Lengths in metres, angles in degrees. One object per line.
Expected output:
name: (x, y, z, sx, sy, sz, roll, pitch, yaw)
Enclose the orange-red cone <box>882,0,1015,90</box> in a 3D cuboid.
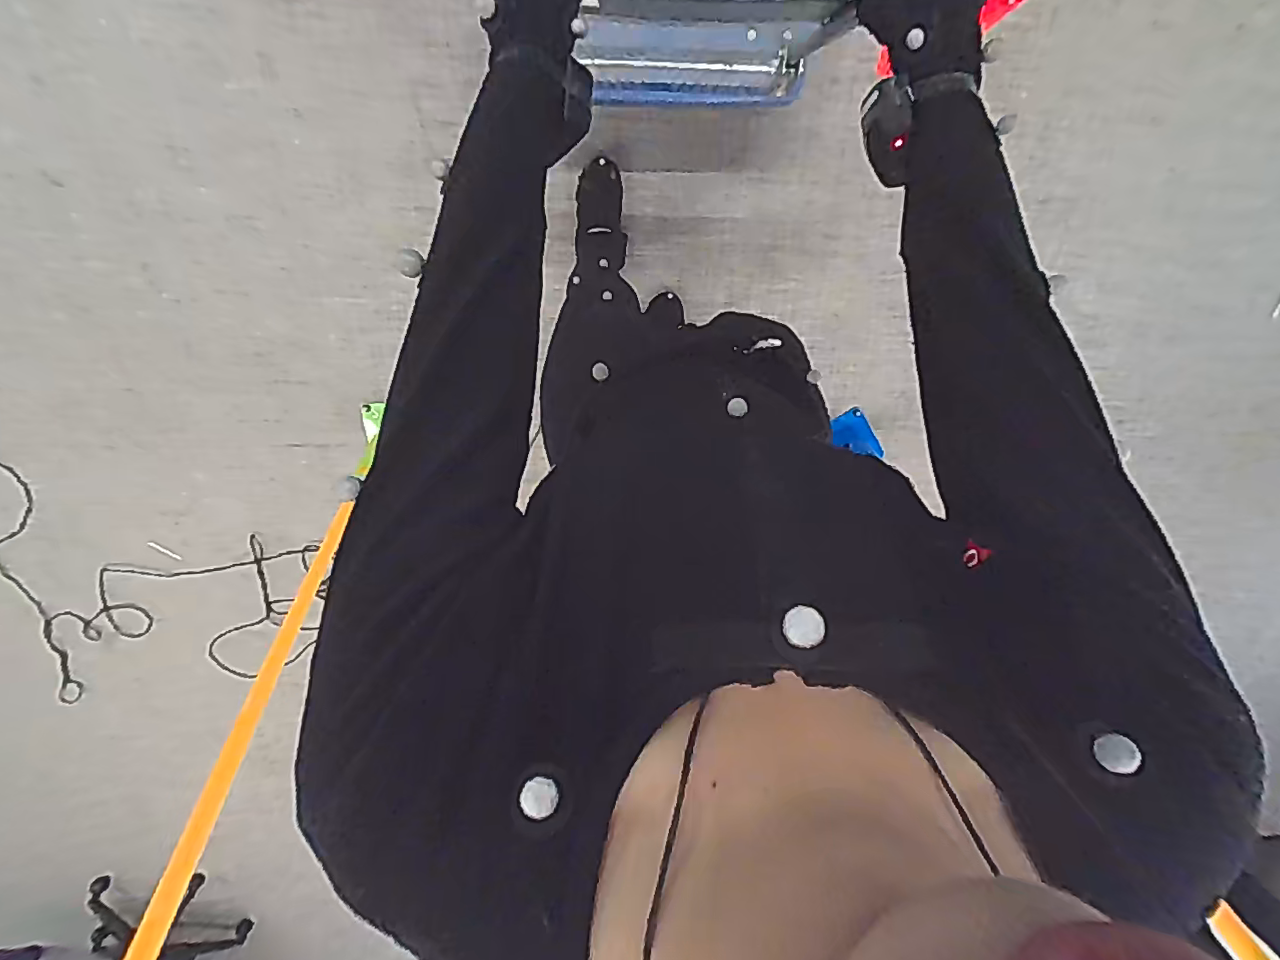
orange-red cone: (0.647, -0.899, 1.005, 0.198, 0.360, 0.199, 11, 115, -8)
